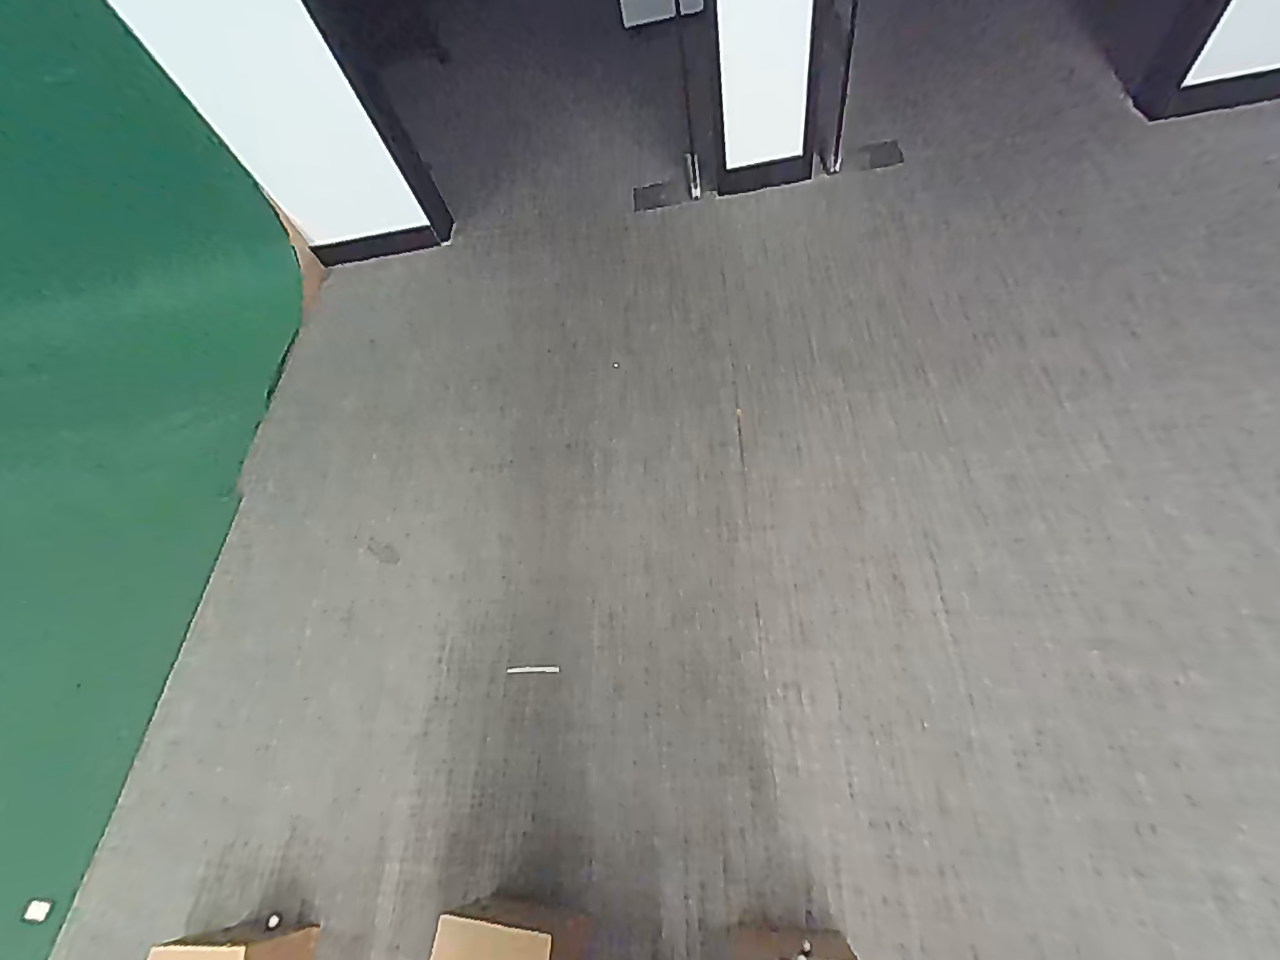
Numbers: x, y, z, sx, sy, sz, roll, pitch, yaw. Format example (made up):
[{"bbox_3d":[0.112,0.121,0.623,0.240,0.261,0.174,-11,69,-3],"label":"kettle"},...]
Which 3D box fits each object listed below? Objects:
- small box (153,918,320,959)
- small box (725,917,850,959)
[{"bbox_3d":[-0.640,0.812,0.842,0.168,0.176,0.179,-6,59,8],"label":"small box"},{"bbox_3d":[0.200,0.710,0.711,0.168,0.176,0.179,-3,61,11],"label":"small box"}]
